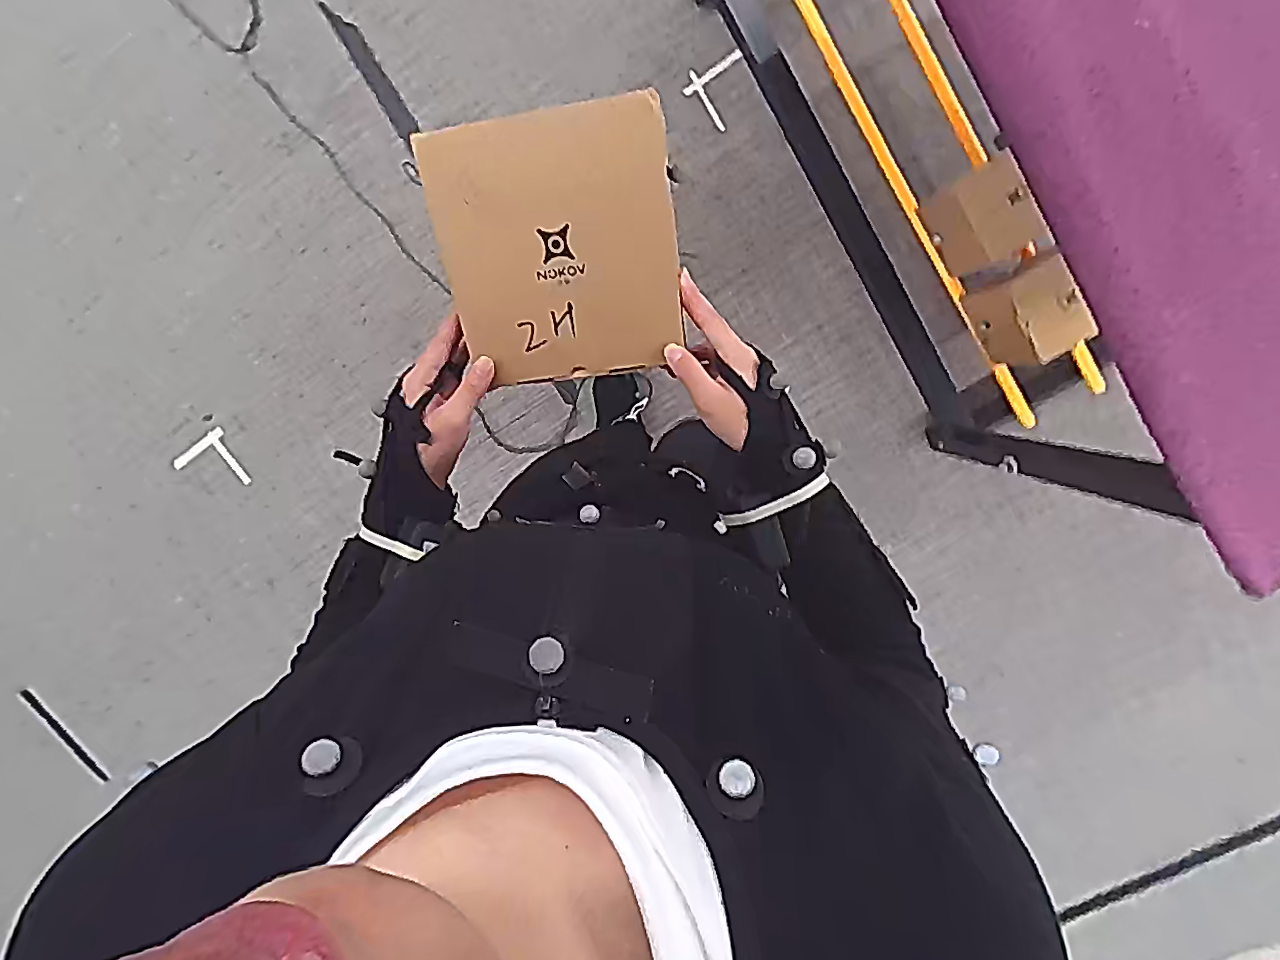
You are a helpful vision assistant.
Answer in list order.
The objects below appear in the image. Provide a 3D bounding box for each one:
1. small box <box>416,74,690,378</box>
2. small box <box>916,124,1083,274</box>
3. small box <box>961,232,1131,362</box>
[{"bbox_3d":[-0.049,-0.195,0.442,0.168,0.176,0.179,-5,115,7],"label":"small box"},{"bbox_3d":[0.671,-0.521,1.031,0.179,0.176,0.168,-32,98,10],"label":"small box"},{"bbox_3d":[0.780,-0.348,1.059,0.179,0.176,0.168,-32,98,10],"label":"small box"}]
